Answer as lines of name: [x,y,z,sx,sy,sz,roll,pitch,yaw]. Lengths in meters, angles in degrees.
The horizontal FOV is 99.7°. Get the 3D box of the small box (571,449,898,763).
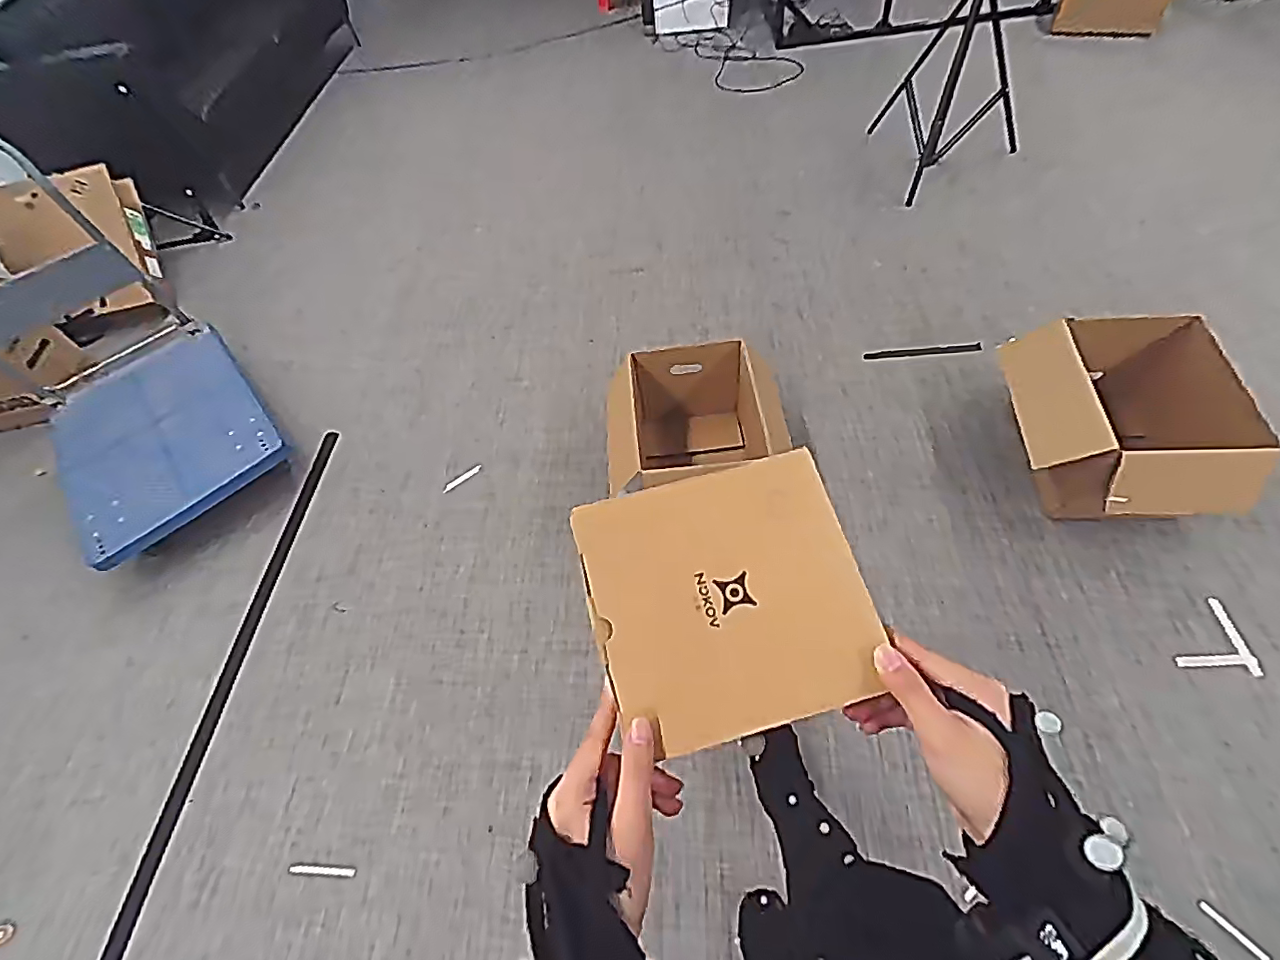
small box: [0.057,0.098,0.424,0.179,0.176,0.168,-15,70,-3]
